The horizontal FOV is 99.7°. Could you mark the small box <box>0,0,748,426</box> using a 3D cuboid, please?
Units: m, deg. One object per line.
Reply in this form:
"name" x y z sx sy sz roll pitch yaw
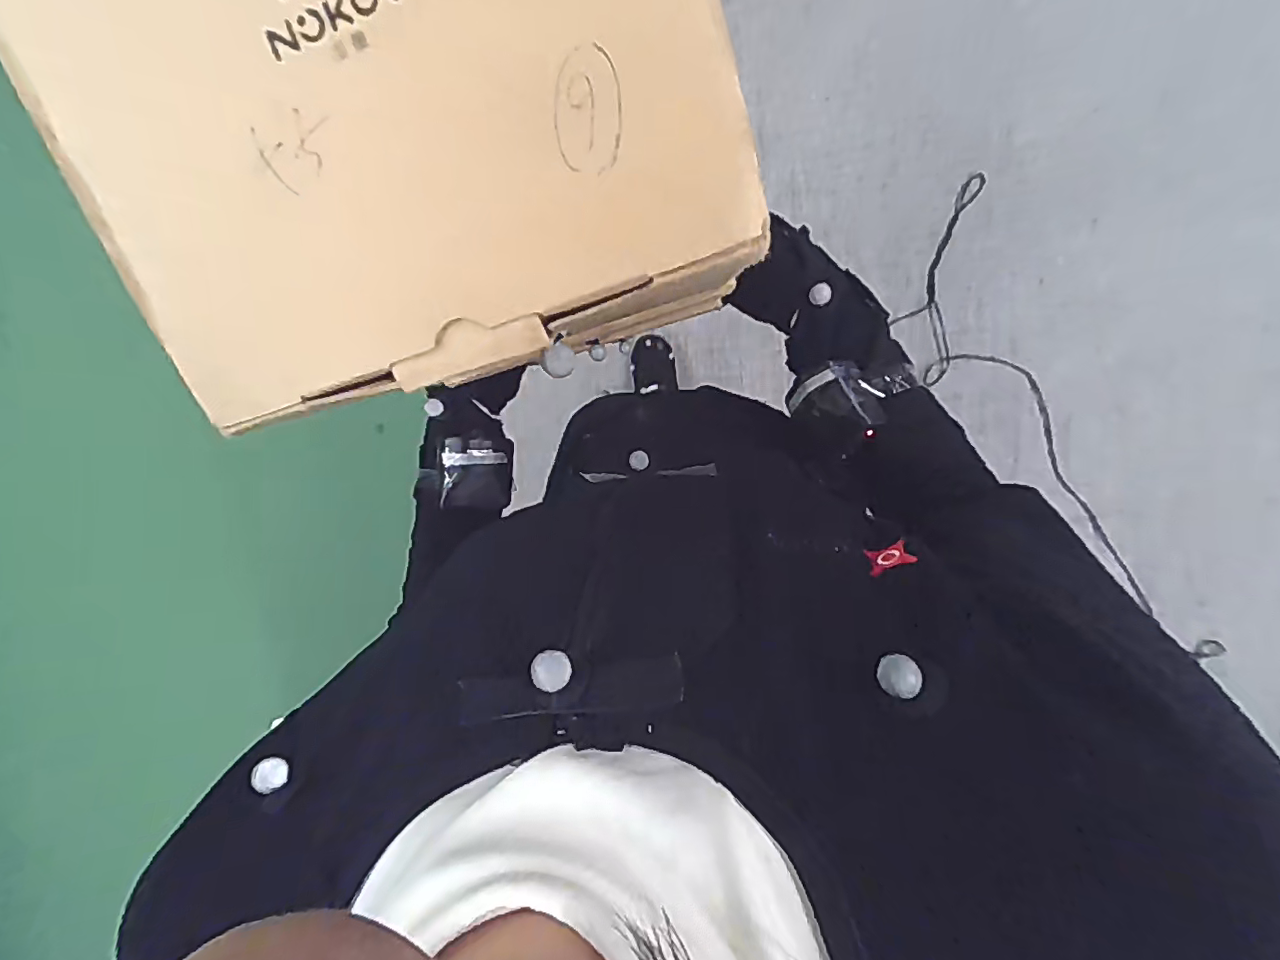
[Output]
"small box" -0.064 -0.141 0.202 0.168 0.176 0.179 -15 107 11
